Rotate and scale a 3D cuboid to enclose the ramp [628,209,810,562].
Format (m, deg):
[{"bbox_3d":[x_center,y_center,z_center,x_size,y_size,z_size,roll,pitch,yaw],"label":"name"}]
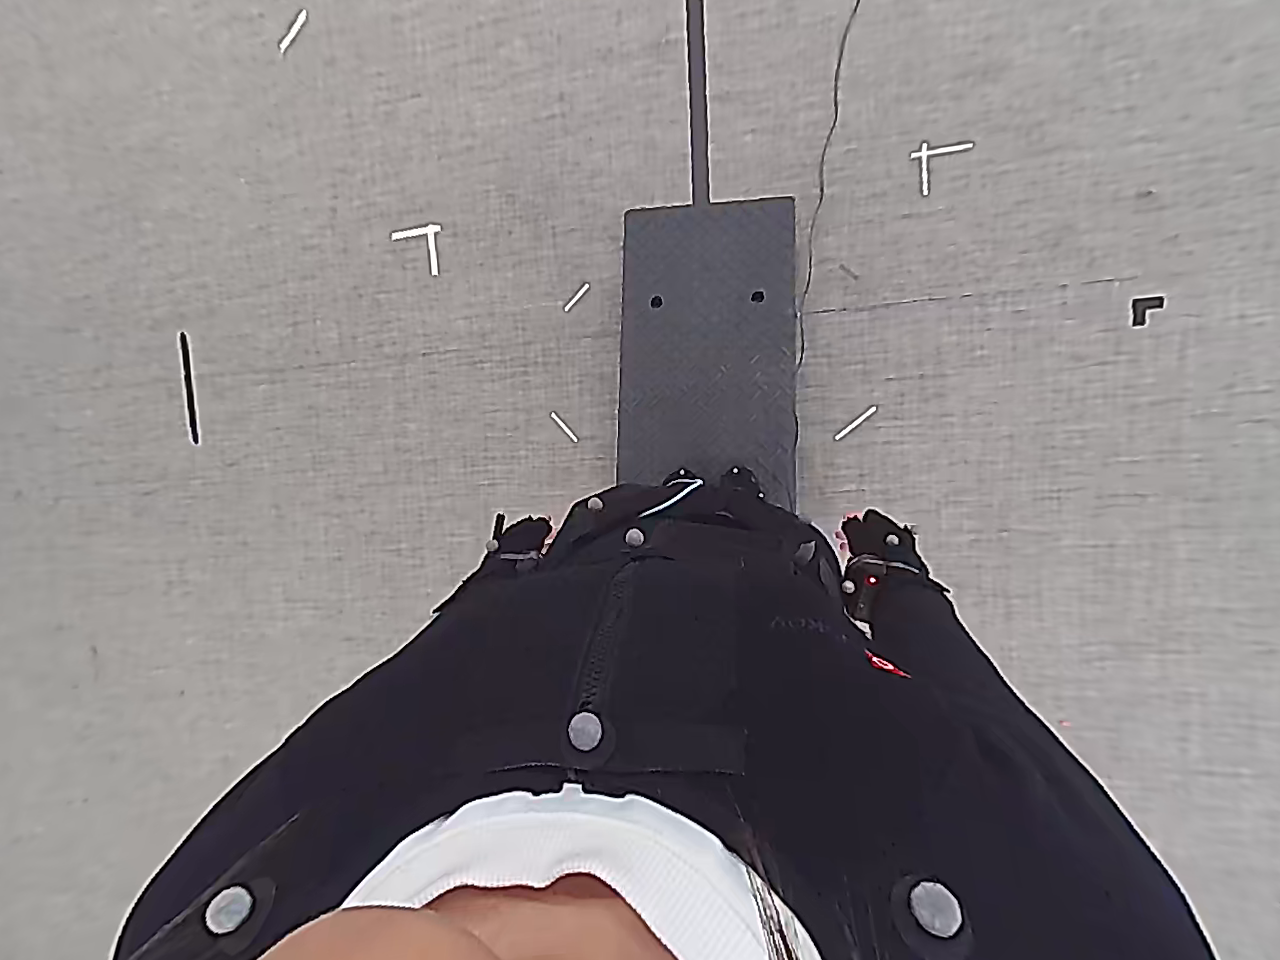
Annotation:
[{"bbox_3d":[0.205,-0.274,1.520,0.509,0.206,0.991,-3,91,12],"label":"ramp"}]
